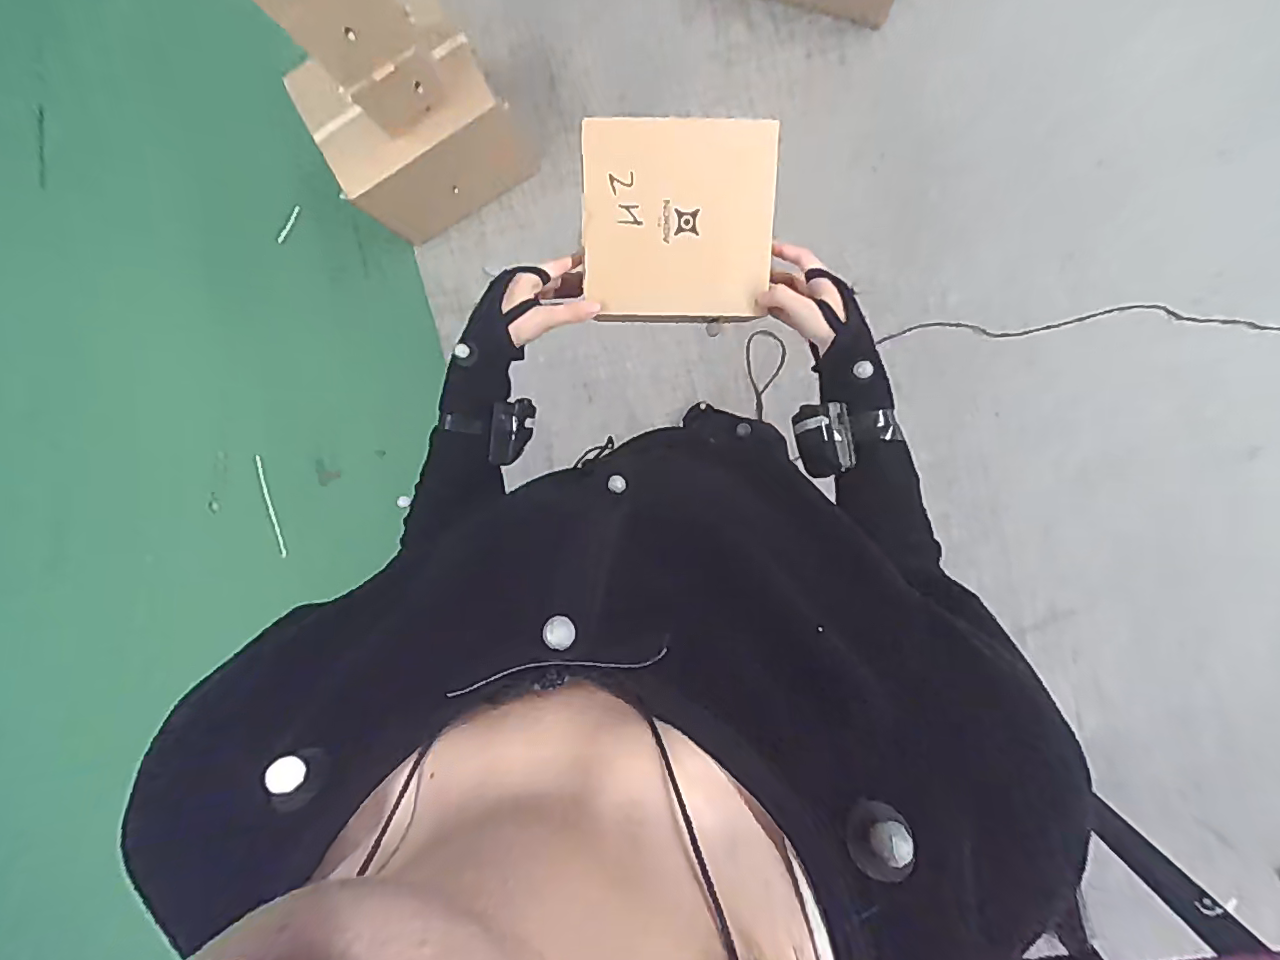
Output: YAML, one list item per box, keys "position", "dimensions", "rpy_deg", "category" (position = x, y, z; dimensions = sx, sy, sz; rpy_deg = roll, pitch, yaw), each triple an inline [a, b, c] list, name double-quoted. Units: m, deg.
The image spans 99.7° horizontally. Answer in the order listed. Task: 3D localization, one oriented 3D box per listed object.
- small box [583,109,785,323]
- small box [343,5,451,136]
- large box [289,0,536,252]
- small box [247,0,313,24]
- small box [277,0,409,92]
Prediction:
- position: [0.036, -0.254, 0.559]
  dimensions: [0.179, 0.176, 0.168]
  rpy_deg: [1, 103, 0]
  category: "small box"
- position: [-0.518, -0.842, 1.098]
  dimensions: [0.168, 0.176, 0.179]
  rpy_deg: [-28, 91, 6]
  category: "small box"
- position: [-0.537, -0.851, 1.344]
  dimensions: [0.408, 0.320, 0.320]
  rpy_deg: [-29, 90, 8]
  category: "large box"
- position: [-0.551, -0.825, 0.771]
  dimensions: [0.179, 0.176, 0.168]
  rpy_deg: [-28, 91, 5]
  category: "small box"
- position: [-0.532, -0.835, 0.935]
  dimensions: [0.179, 0.176, 0.168]
  rpy_deg: [-29, 91, 7]
  category: "small box"
